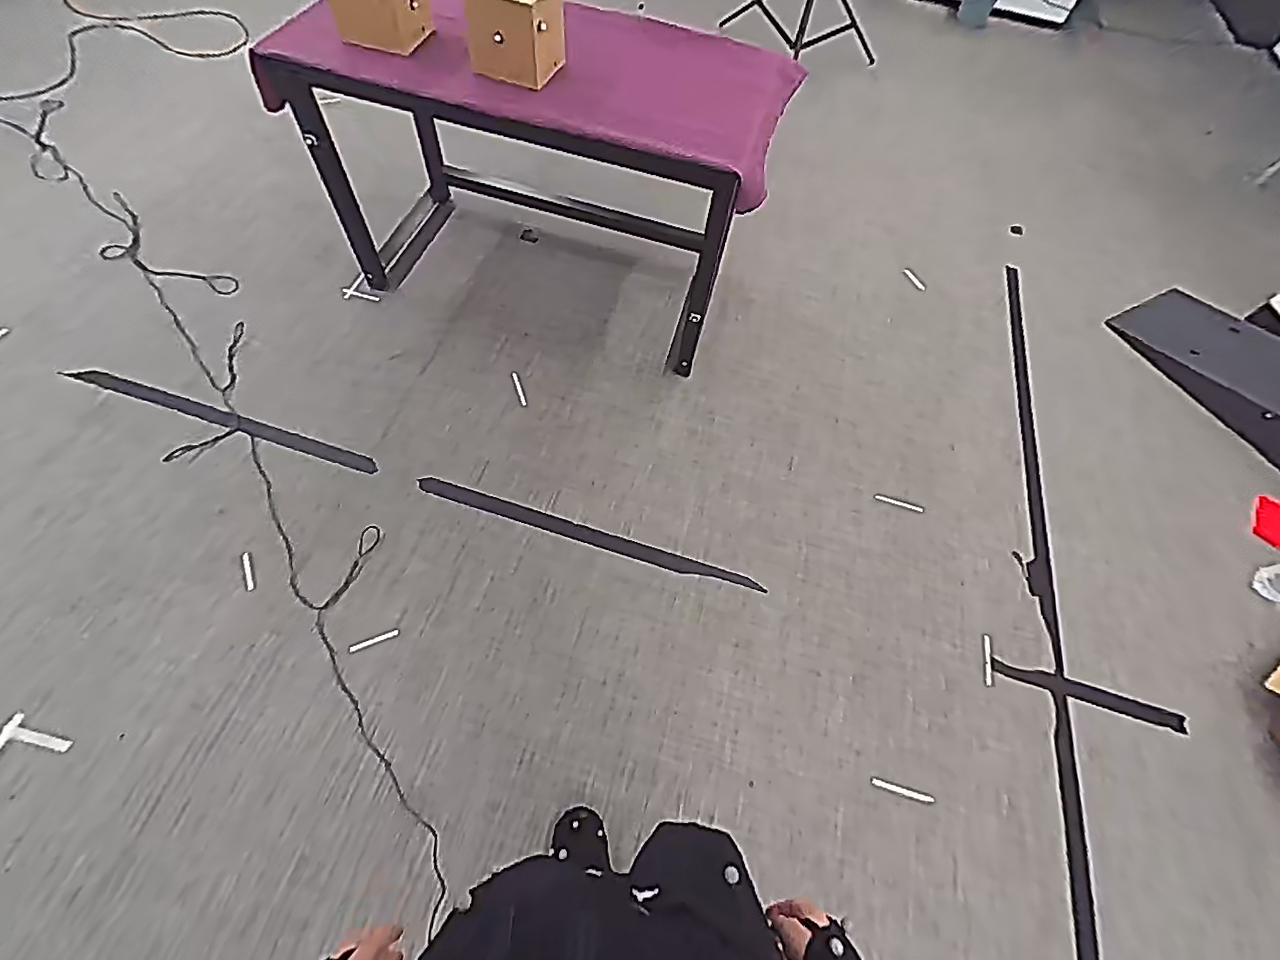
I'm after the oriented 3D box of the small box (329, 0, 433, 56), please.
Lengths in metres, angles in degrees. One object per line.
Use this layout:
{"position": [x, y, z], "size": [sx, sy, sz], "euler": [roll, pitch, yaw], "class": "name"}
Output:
{"position": [-0.623, -1.157, 1.295], "size": [0.179, 0.176, 0.168], "euler": [14, 59, 2], "class": "small box"}
